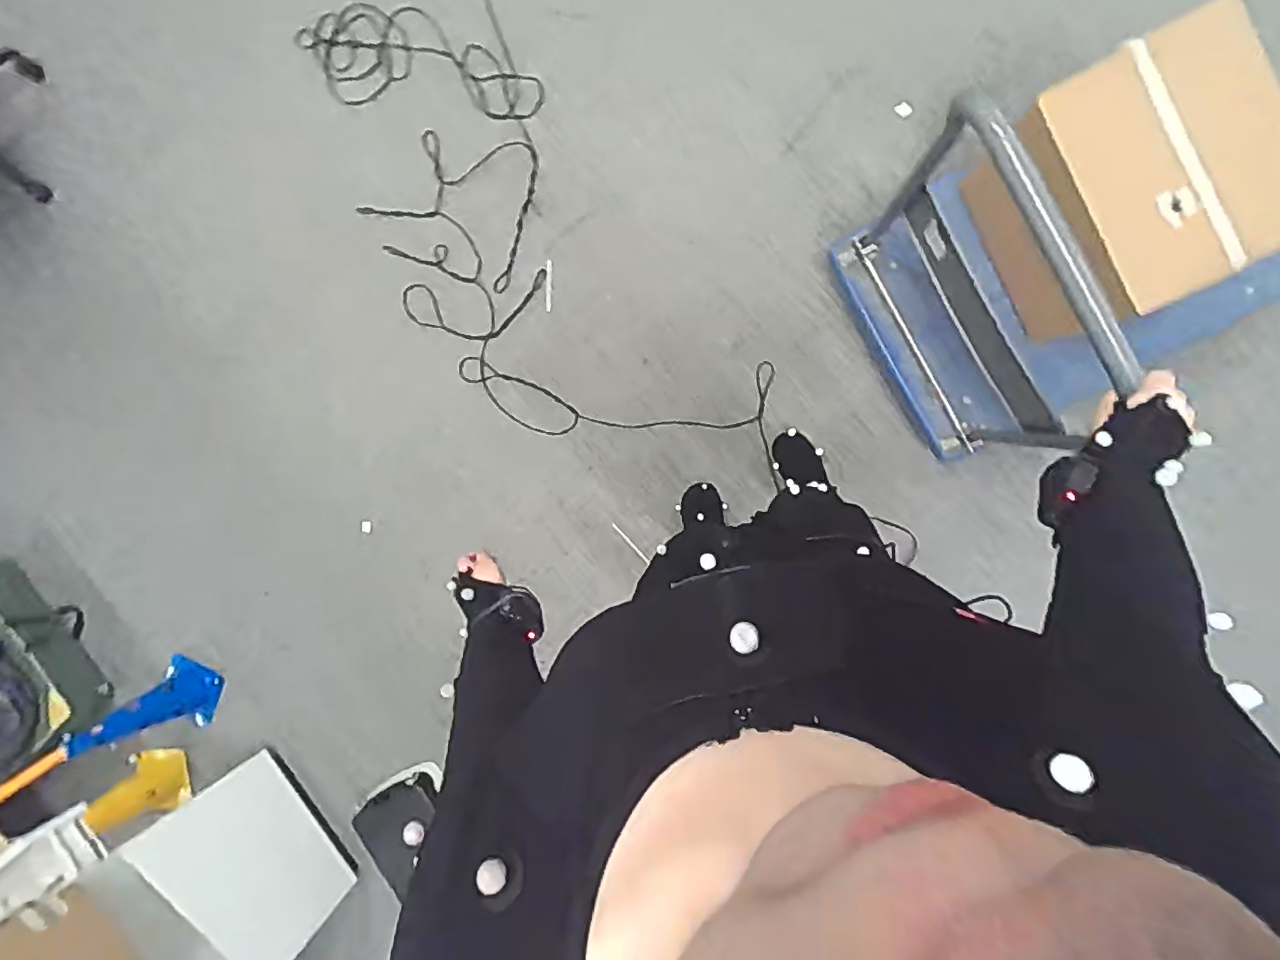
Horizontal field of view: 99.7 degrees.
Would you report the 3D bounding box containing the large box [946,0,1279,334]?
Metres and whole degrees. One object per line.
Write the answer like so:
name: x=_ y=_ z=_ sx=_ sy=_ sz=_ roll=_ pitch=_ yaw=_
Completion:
large box: x=0.883 y=-0.553 z=1.041 sx=0.320 sy=0.320 sz=0.408 roll=-27 pitch=91 yaw=9
